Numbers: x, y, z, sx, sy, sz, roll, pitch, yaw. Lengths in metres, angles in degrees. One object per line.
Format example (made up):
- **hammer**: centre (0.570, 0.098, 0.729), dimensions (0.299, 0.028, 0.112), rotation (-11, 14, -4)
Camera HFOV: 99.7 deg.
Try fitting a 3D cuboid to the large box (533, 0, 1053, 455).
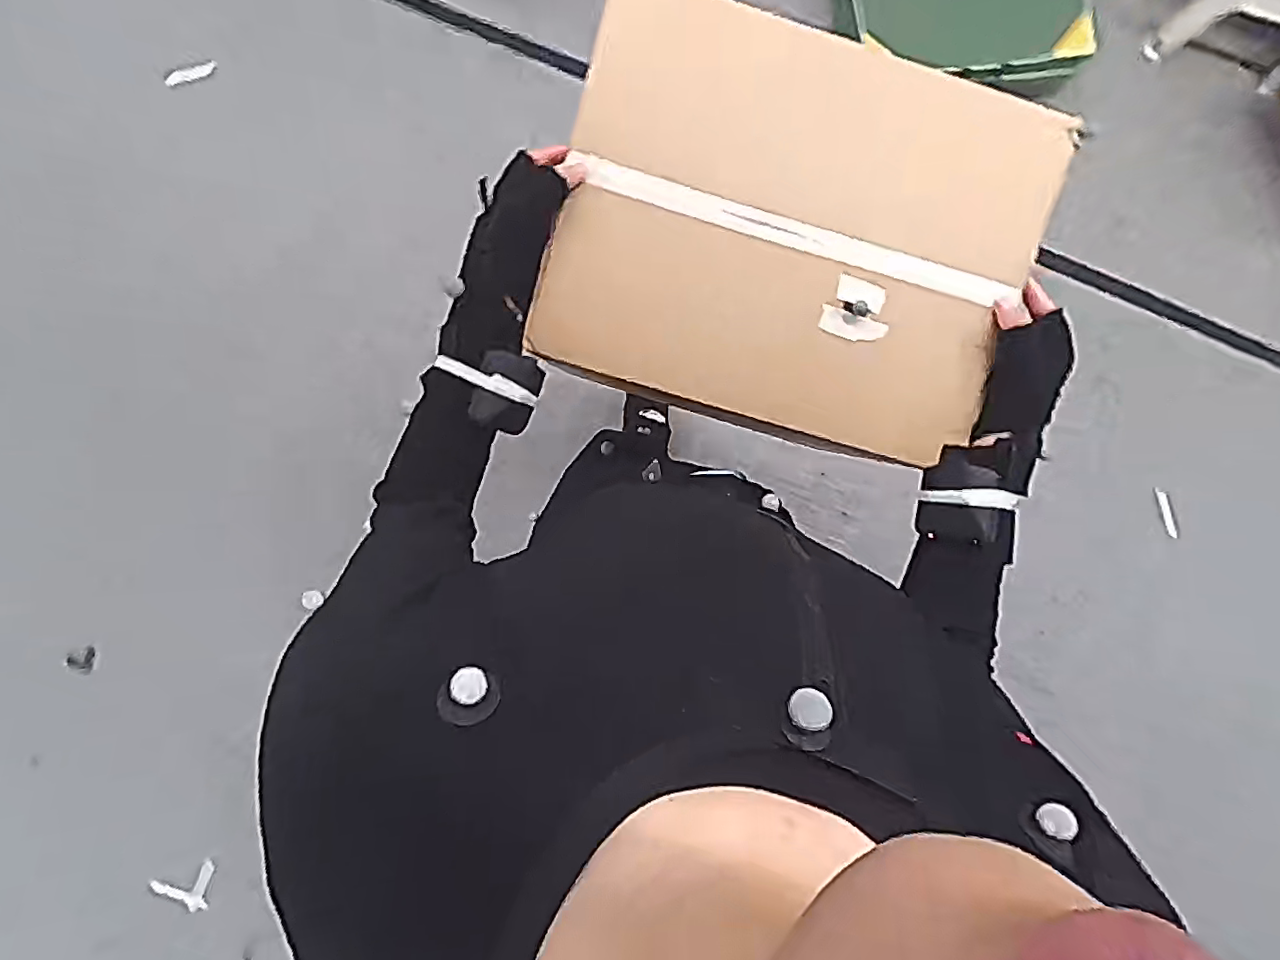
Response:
- **large box**: centre (0.125, -0.237, 0.622), dimensions (0.408, 0.320, 0.320), rotation (16, 98, -5)
